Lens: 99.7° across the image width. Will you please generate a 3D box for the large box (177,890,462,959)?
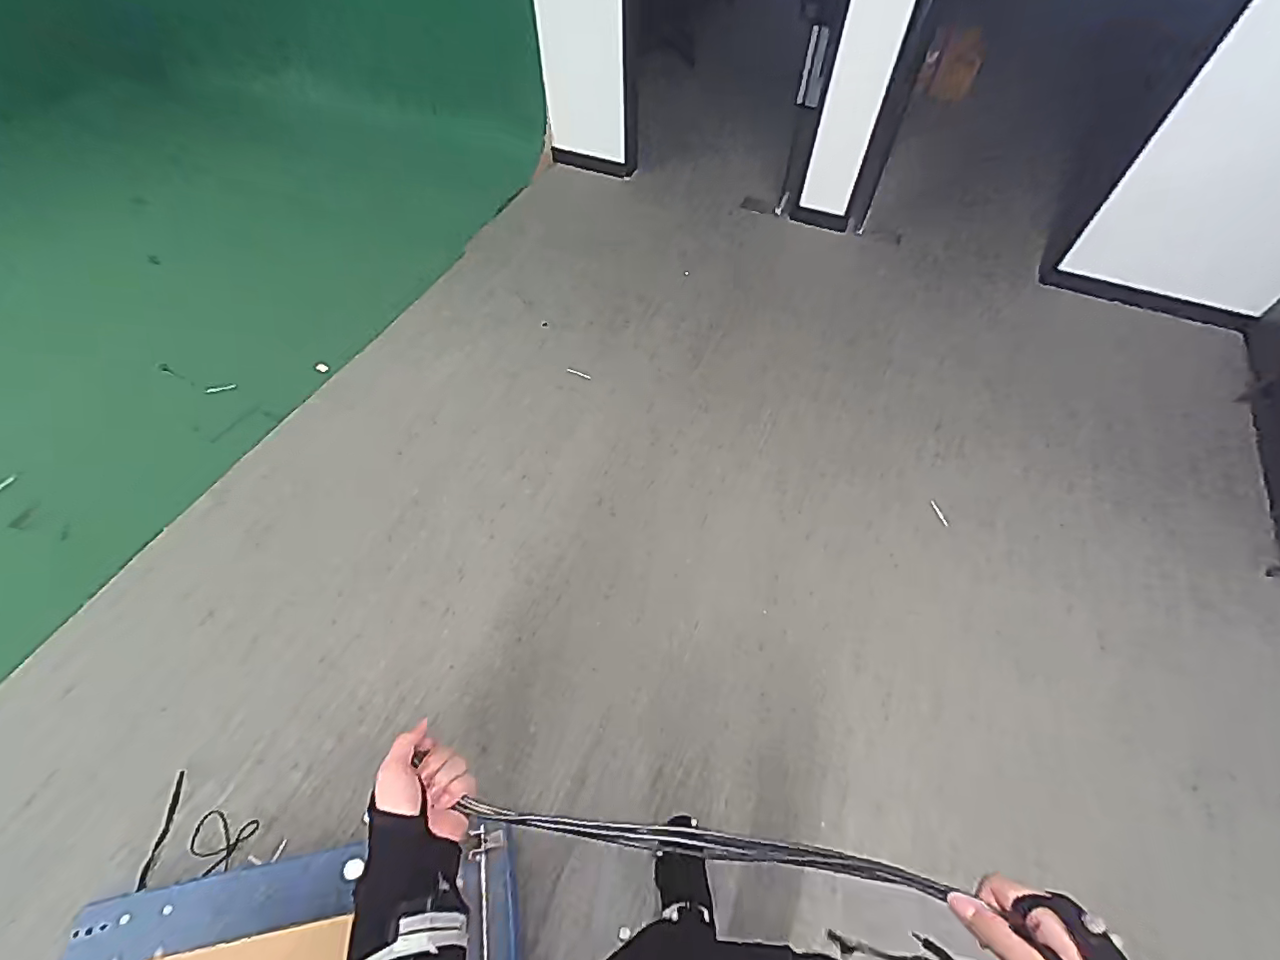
[{"bbox_3d":[-0.528,0.915,0.882,0.408,0.320,0.320,-10,56,-6],"label":"large box"}]
